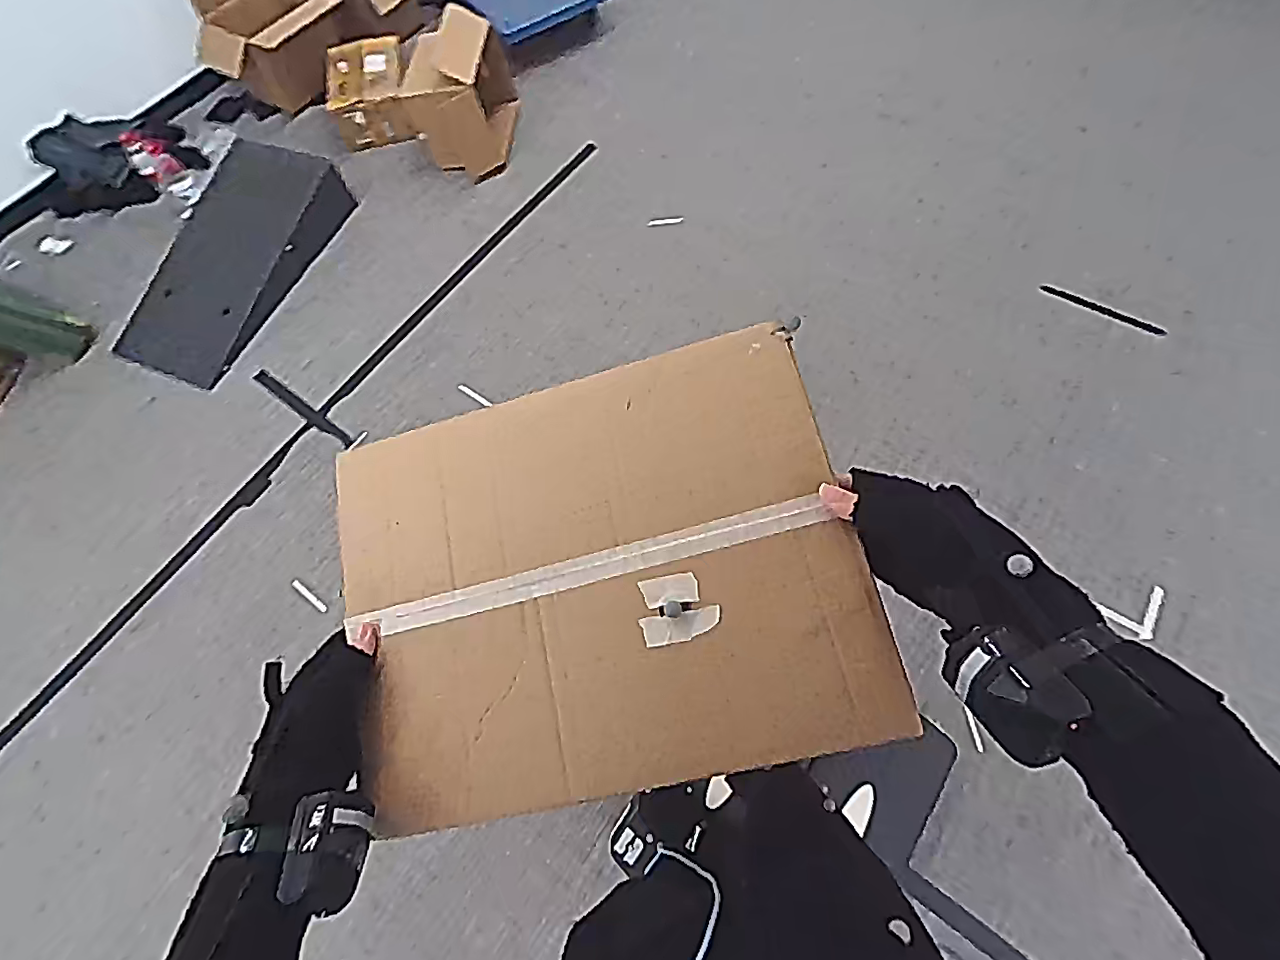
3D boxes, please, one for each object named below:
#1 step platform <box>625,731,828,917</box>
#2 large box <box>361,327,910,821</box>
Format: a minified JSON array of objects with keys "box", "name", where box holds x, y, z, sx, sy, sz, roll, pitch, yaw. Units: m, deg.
[{"box":[0.254,0.628,1.307,0.286,0.204,0.684,31,72,16],"name":"step platform"},{"box":[-0.009,0.103,0.572,0.408,0.320,0.320,-15,75,8],"name":"large box"}]
